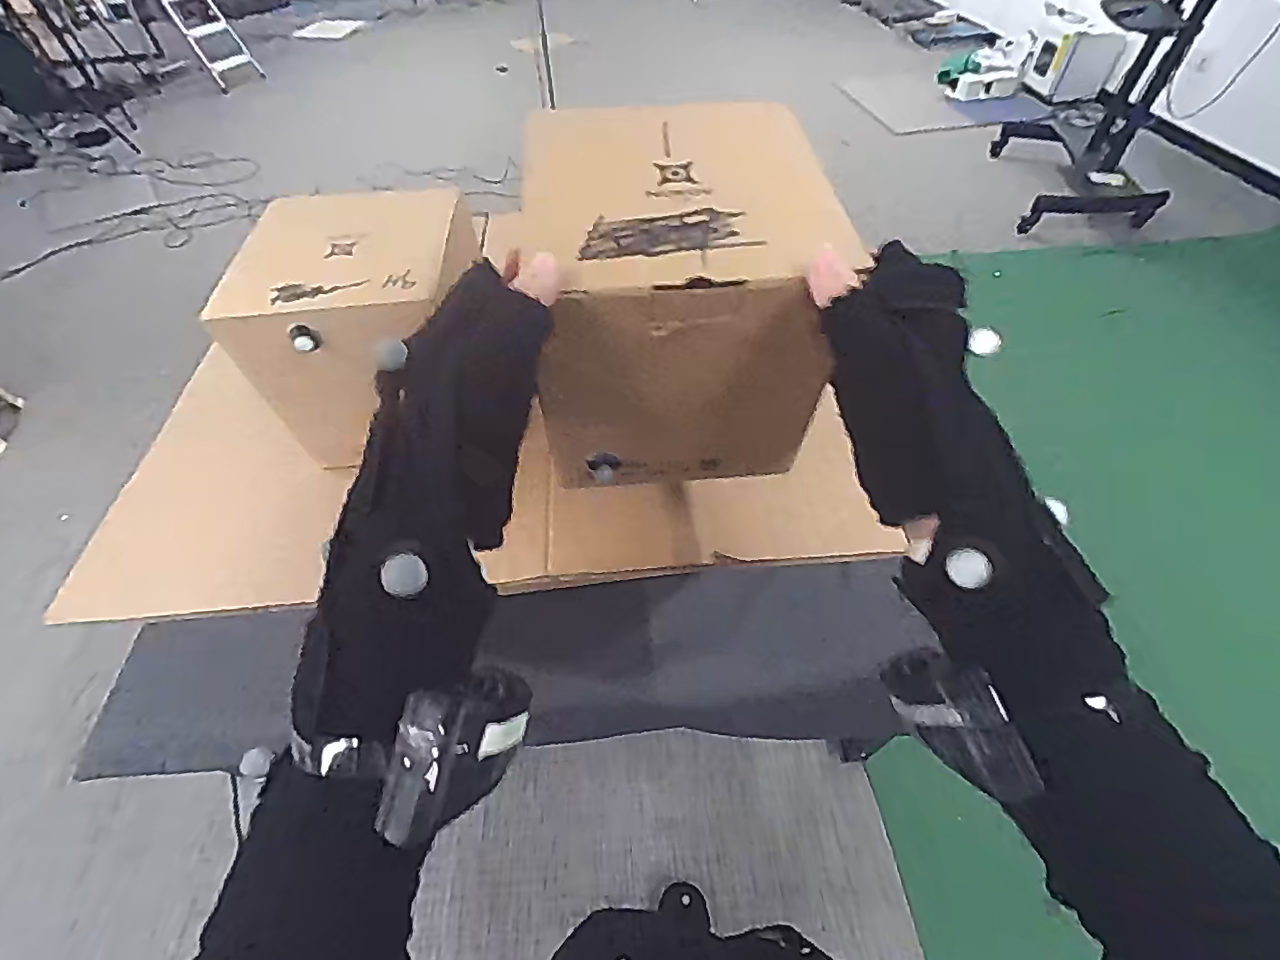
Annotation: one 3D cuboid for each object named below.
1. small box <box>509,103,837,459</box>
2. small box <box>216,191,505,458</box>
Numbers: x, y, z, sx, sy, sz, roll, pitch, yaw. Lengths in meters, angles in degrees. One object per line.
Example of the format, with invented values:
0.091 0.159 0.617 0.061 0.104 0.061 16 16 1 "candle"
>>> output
0.012 -0.126 0.374 0.168 0.176 0.179 -4 56 -3 "small box"
-0.229 -0.143 0.505 0.168 0.176 0.179 -5 52 -1 "small box"
